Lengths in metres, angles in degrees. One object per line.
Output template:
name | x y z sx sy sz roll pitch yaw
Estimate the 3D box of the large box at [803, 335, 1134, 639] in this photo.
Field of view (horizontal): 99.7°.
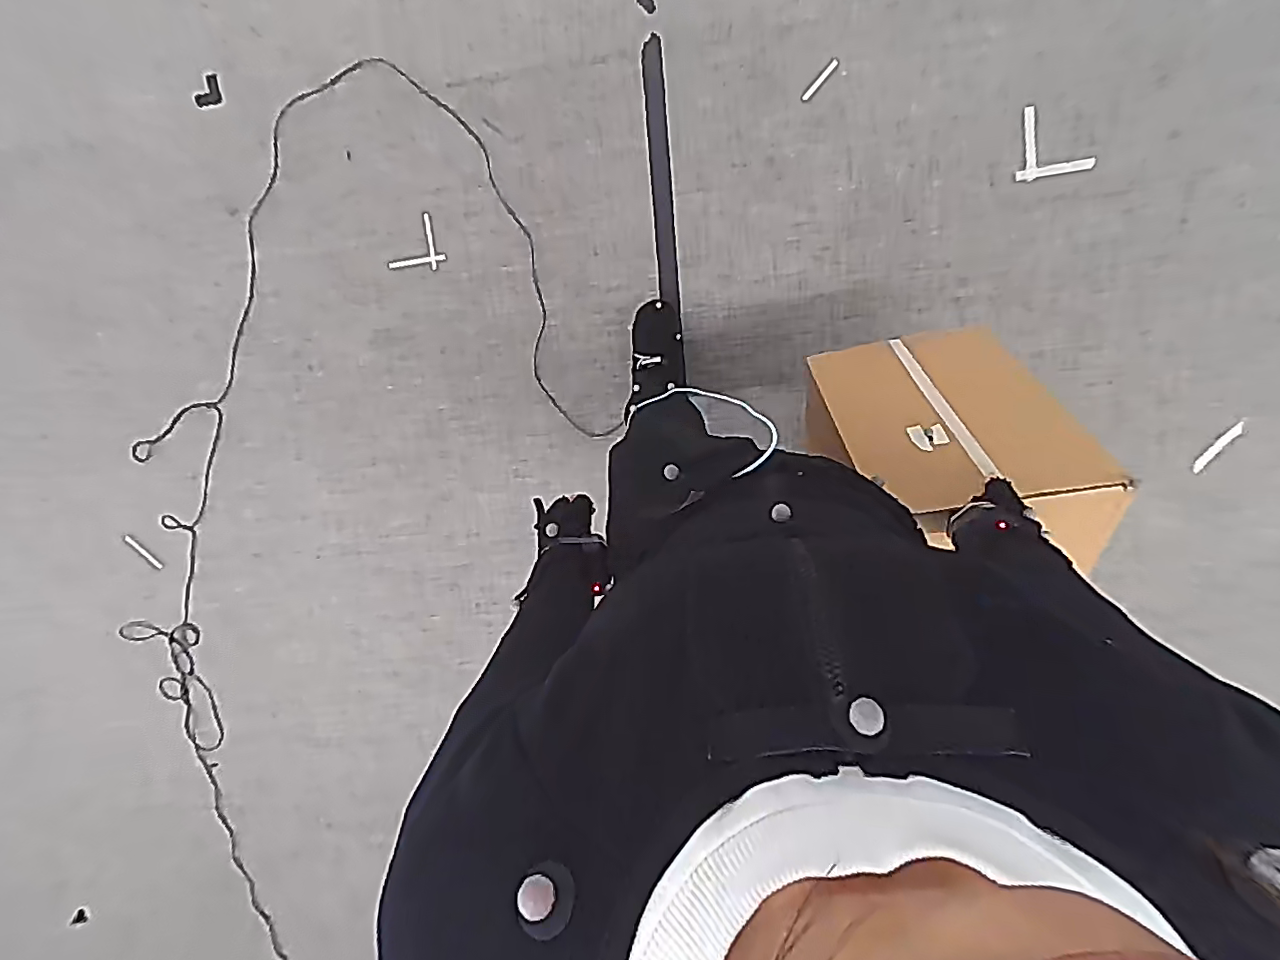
large box | 0.488 0.006 0.934 0.320 0.408 0.320 -10 134 7
